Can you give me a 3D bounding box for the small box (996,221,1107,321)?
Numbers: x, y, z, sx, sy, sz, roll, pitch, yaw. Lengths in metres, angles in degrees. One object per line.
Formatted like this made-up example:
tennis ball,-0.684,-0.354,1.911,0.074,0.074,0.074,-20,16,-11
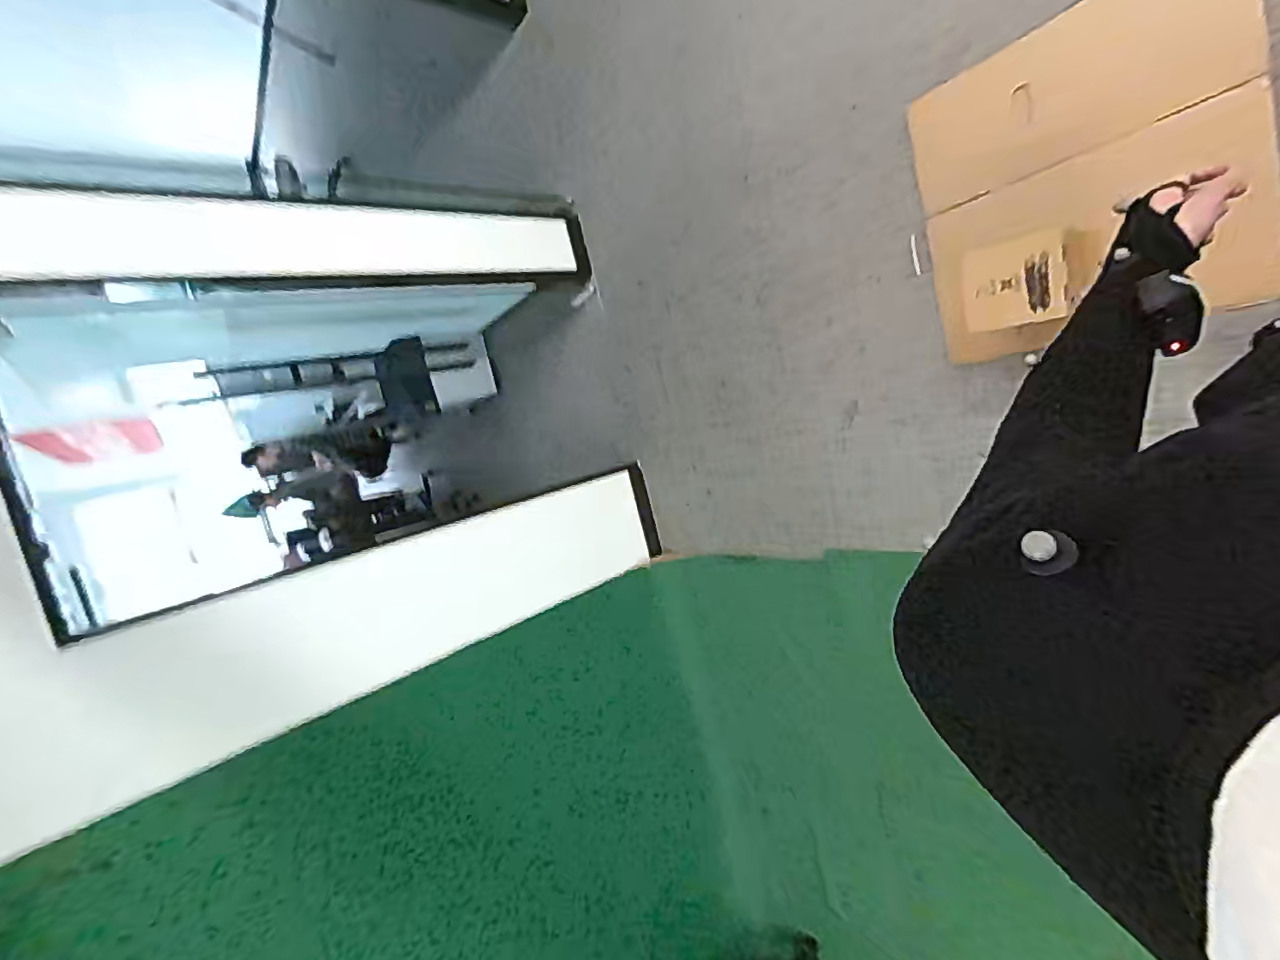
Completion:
small box,0.936,-0.471,1.227,0.168,0.176,0.179,1,105,51
